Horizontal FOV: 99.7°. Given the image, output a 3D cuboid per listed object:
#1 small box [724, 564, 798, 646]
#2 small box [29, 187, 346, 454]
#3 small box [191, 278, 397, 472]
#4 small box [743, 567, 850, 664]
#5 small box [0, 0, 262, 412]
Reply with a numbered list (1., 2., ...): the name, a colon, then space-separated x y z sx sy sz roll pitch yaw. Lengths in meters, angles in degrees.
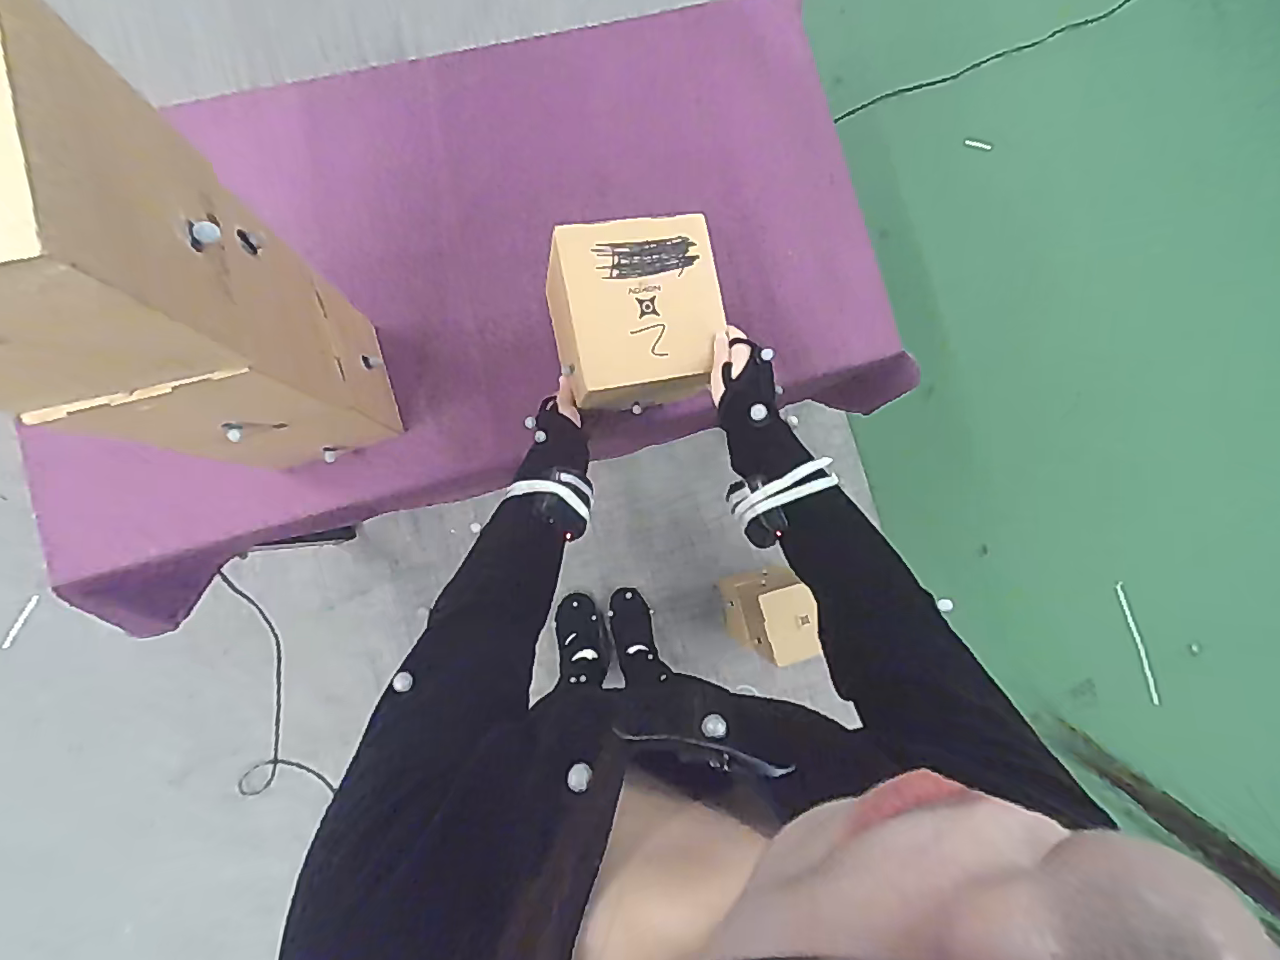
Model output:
1. small box: 0.331 0.324 1.431 0.179 0.176 0.168 -12 87 -7
2. small box: -0.405 -0.135 0.498 0.168 0.176 0.179 -16 87 -6
3. small box: -0.419 -0.116 0.662 0.179 0.176 0.168 -18 87 -7
4. small box: 0.355 0.311 1.270 0.179 0.176 0.168 -15 88 -7
5. small box: -0.386 -0.151 0.335 0.179 0.176 0.168 -14 87 -7
